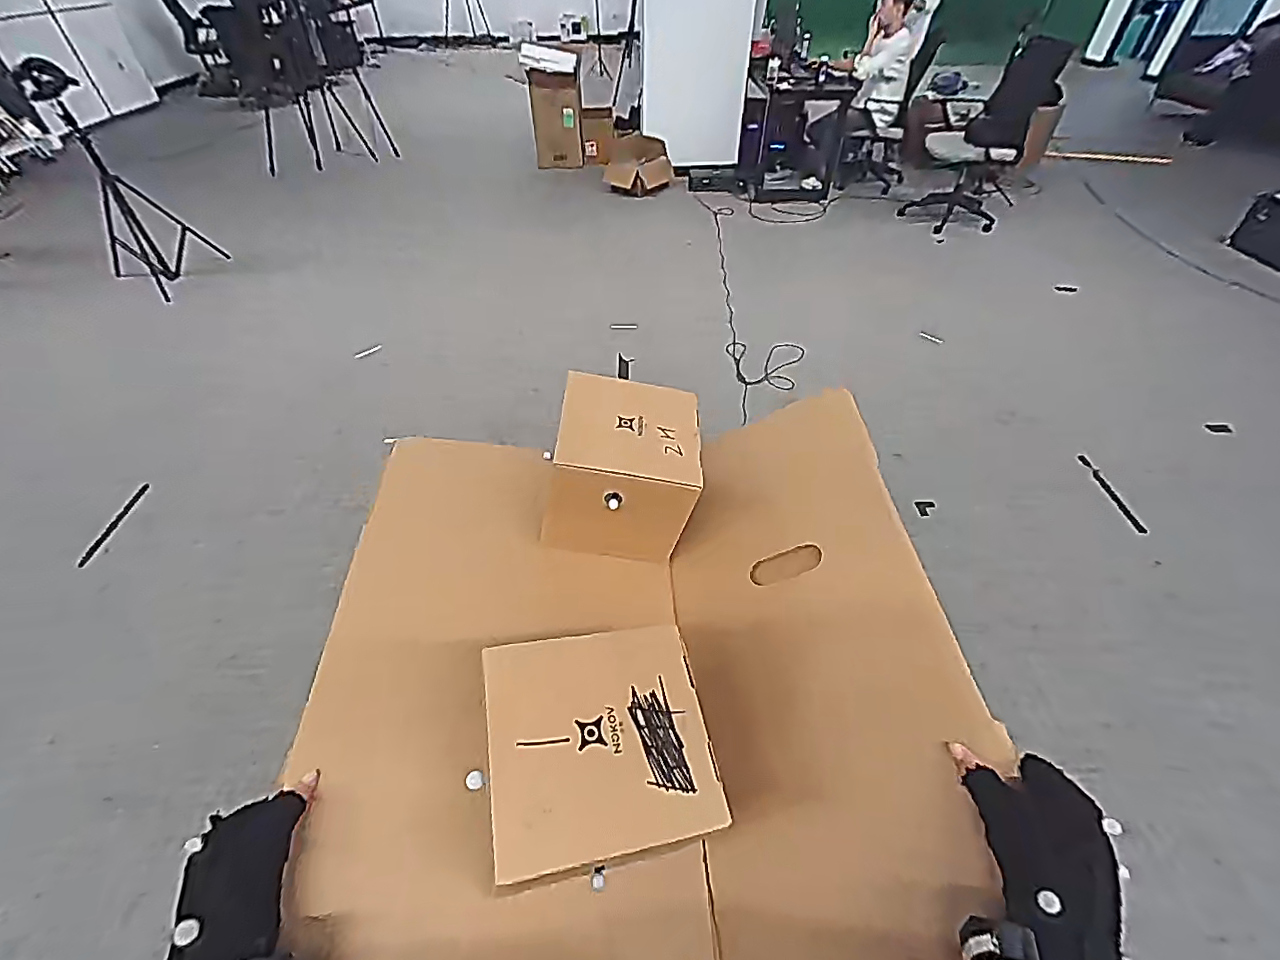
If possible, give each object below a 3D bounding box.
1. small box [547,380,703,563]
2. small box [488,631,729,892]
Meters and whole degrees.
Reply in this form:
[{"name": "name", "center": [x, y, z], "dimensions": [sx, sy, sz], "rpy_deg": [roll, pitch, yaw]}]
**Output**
[{"name": "small box", "center": [-0.024, -0.006, 0.728], "dimensions": [0.179, 0.176, 0.168], "rpy_deg": [10, 49, -8]}, {"name": "small box", "center": [-0.046, 0.257, 0.497], "dimensions": [0.179, 0.176, 0.168], "rpy_deg": [-2, 51, -17]}]
